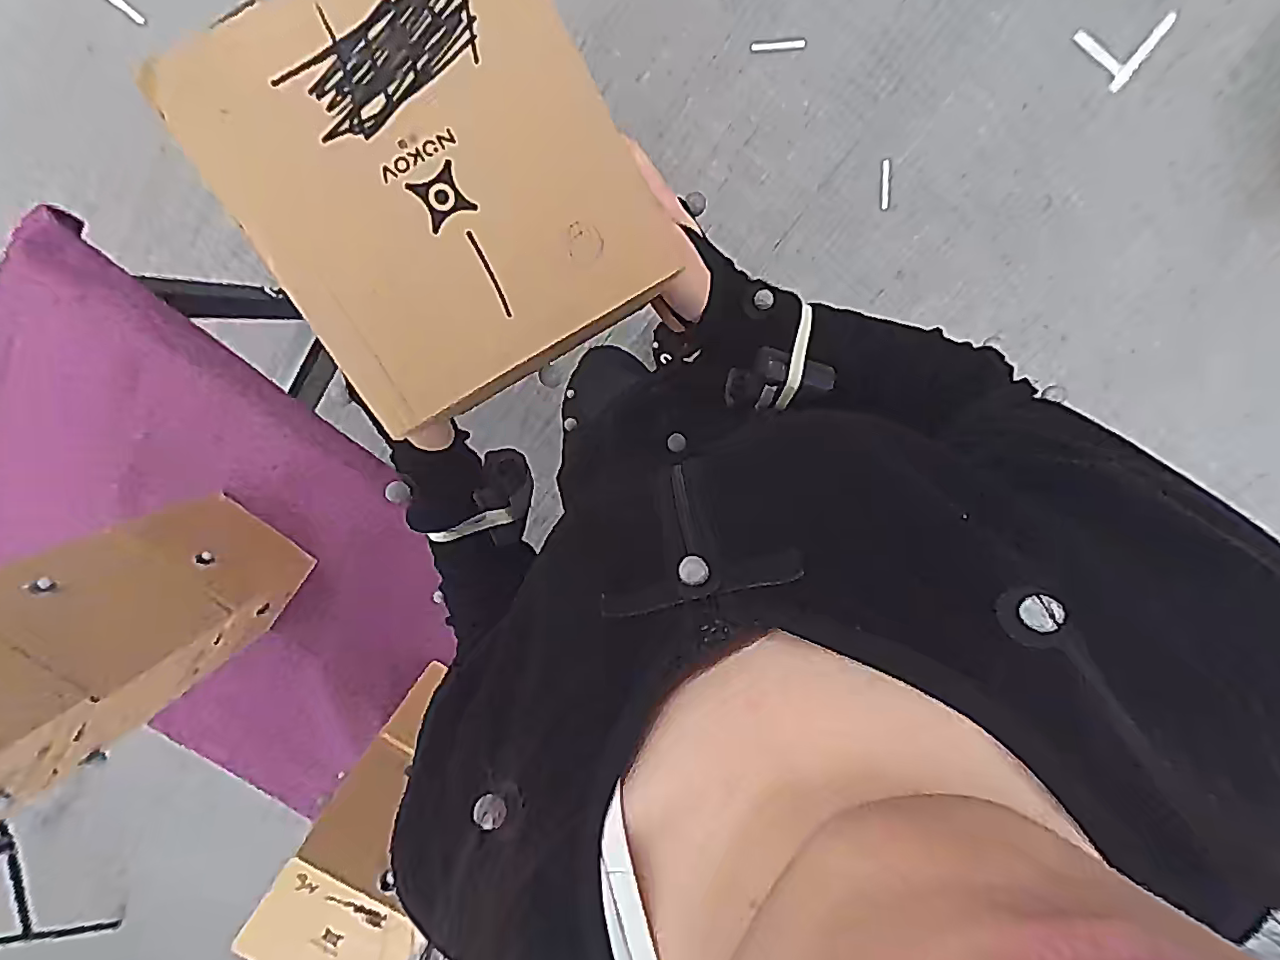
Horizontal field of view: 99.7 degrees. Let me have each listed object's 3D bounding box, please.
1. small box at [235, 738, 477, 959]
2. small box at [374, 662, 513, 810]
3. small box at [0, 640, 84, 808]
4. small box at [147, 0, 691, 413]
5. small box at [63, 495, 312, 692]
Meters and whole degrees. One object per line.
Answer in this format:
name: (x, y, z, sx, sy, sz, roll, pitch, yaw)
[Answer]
small box: (-0.325, 0.461, 0.652, 0.168, 0.176, 0.179, 34, 106, -7)
small box: (-0.310, 0.411, 0.808, 0.168, 0.176, 0.179, 36, 105, -7)
small box: (-0.632, 0.224, 0.432, 0.179, 0.176, 0.168, 38, 104, -8)
small box: (-0.096, -0.156, 0.311, 0.168, 0.176, 0.179, -29, 104, 0)
small box: (-0.608, 0.145, 0.751, 0.179, 0.176, 0.168, 39, 103, -7)
